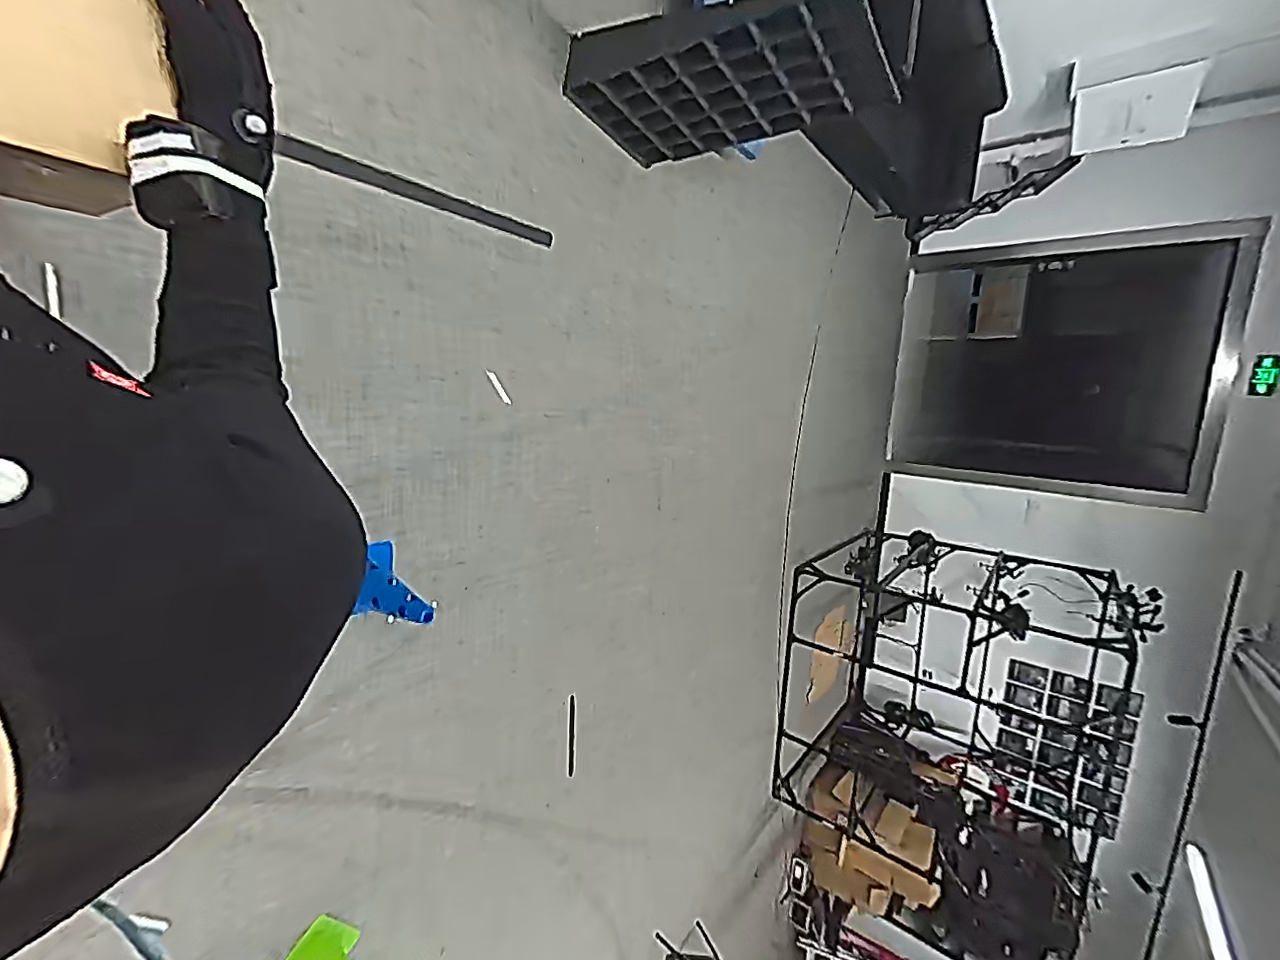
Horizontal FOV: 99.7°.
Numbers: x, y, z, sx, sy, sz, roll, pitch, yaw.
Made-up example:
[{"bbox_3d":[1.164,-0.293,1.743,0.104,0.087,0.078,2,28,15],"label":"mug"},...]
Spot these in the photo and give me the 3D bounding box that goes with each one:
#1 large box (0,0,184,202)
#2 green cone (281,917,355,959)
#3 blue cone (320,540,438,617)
[{"bbox_3d":[-0.578,-0.399,0.319,0.408,0.320,0.320,-8,109,-54],"label":"large box"},{"bbox_3d":[-0.817,1.415,1.461,0.202,0.368,0.200,-53,137,-33],"label":"green cone"},{"bbox_3d":[-0.666,0.293,1.424,0.192,0.380,0.193,-3,101,-54],"label":"blue cone"}]
